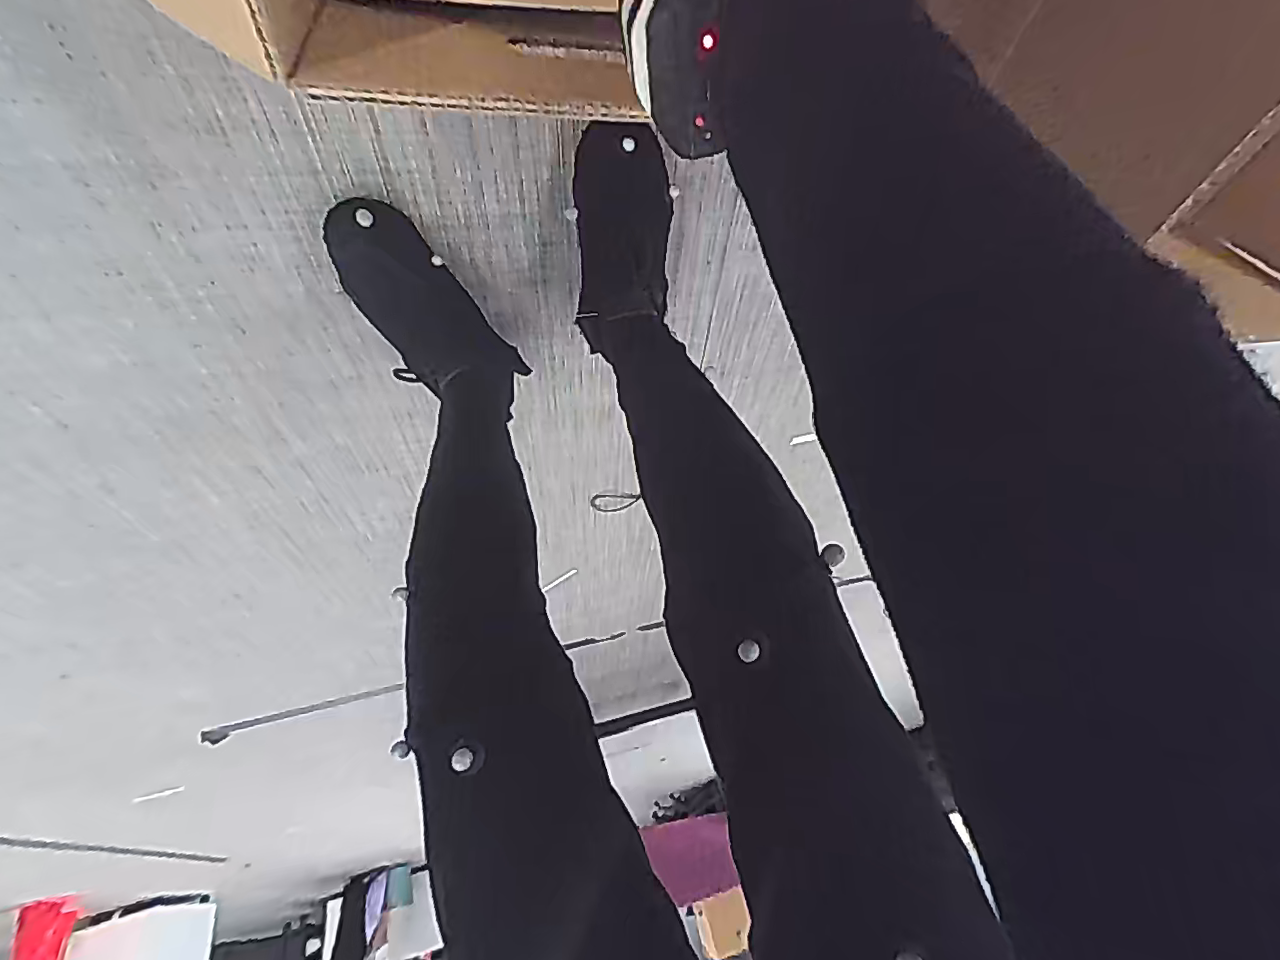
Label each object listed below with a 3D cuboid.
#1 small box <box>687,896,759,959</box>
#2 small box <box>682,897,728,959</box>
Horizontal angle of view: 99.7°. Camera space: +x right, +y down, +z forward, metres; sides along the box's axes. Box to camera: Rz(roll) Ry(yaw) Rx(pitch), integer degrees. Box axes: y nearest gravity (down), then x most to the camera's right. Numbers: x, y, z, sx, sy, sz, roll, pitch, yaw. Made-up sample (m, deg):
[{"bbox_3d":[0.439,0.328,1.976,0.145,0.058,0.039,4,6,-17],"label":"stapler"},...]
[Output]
[{"bbox_3d":[0.278,1.554,1.853,0.179,0.176,0.168,-9,143,-13],"label":"small box"},{"bbox_3d":[0.273,1.703,2.044,0.179,0.176,0.168,-11,143,-11],"label":"small box"}]
